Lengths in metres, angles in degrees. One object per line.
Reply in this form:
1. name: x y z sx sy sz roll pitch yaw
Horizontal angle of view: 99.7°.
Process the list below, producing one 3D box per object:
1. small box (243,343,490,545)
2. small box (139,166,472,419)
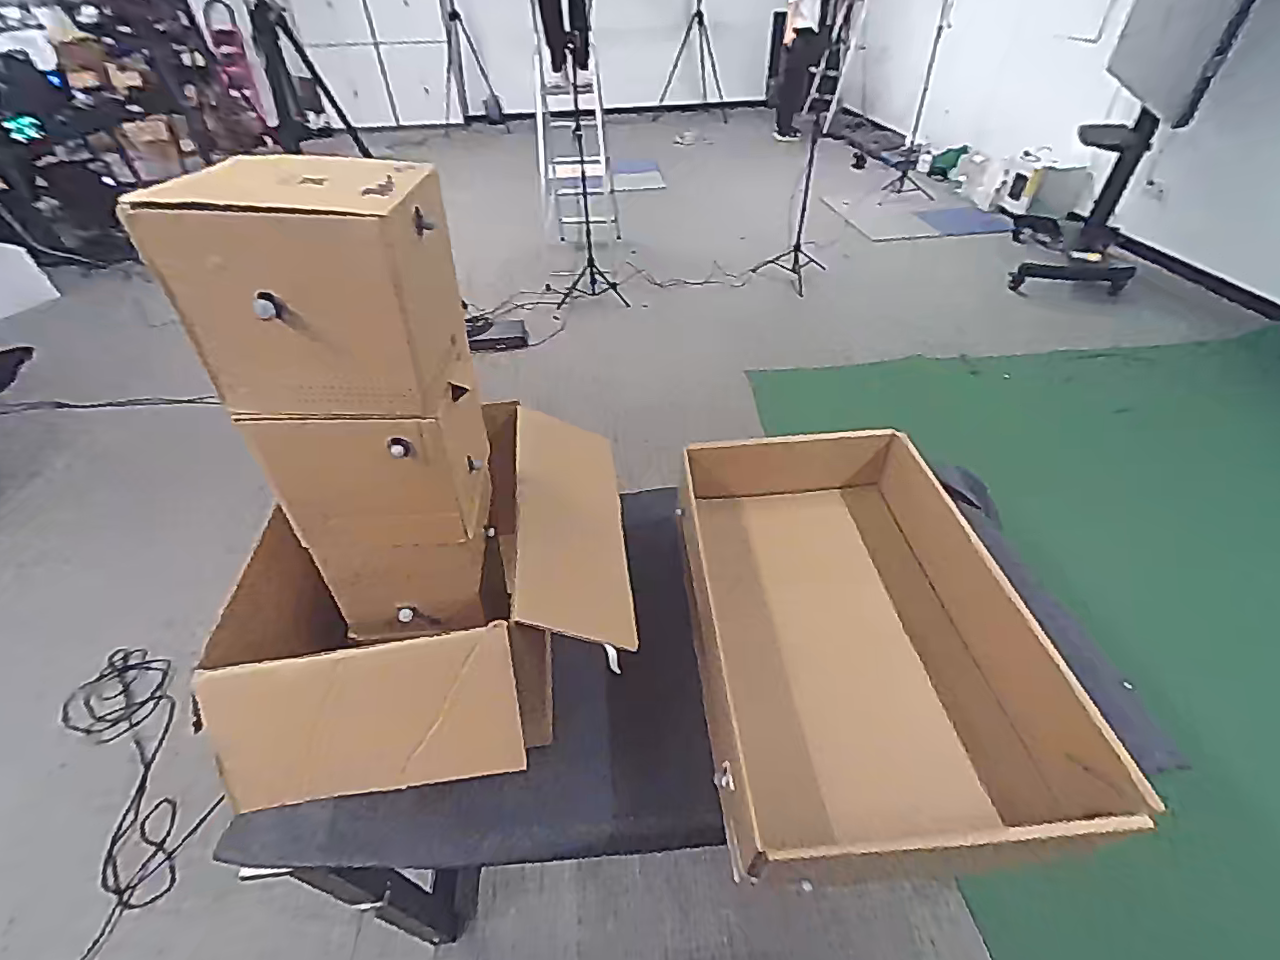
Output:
1. small box: -0.271 -0.041 0.589 0.179 0.176 0.168 -1 41 -6
2. small box: -0.263 -0.167 0.483 0.179 0.176 0.168 0 41 -5
